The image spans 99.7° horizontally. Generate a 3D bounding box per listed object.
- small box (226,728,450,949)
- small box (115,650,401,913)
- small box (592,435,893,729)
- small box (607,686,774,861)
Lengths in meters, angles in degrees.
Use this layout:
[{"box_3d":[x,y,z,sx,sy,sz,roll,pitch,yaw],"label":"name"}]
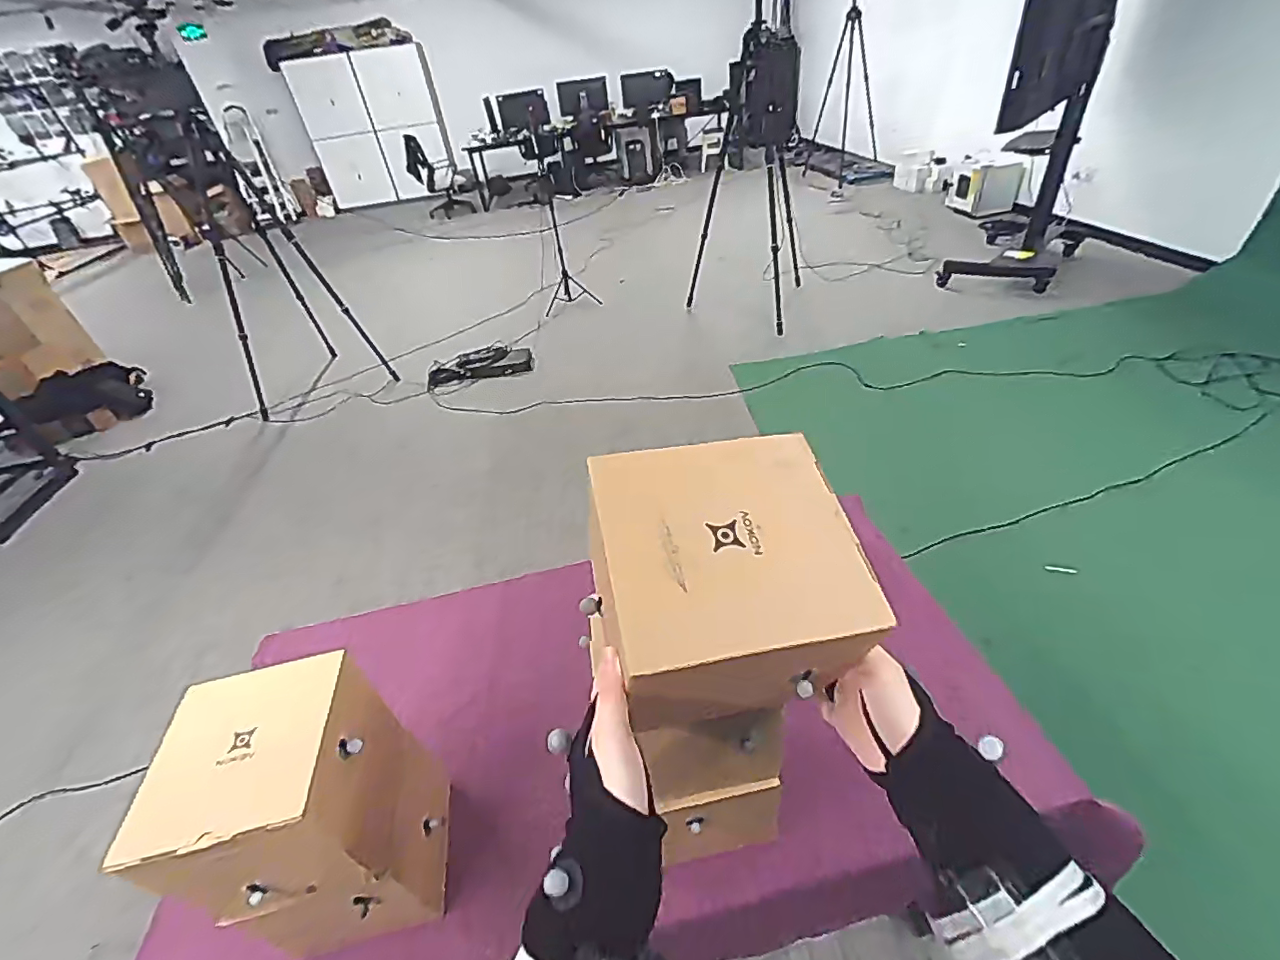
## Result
[{"box_3d":[-0.351,0.446,0.676,0.179,0.176,0.168,-13,38,-5],"label":"small box"},{"box_3d":[-0.375,0.318,0.578,0.168,0.176,0.179,-13,40,-5],"label":"small box"},{"box_3d":[0.056,0.086,0.434,0.179,0.176,0.168,-7,55,-9],"label":"small box"},{"box_3d":[0.063,0.361,0.699,0.179,0.176,0.168,-11,39,-3],"label":"small box"}]
